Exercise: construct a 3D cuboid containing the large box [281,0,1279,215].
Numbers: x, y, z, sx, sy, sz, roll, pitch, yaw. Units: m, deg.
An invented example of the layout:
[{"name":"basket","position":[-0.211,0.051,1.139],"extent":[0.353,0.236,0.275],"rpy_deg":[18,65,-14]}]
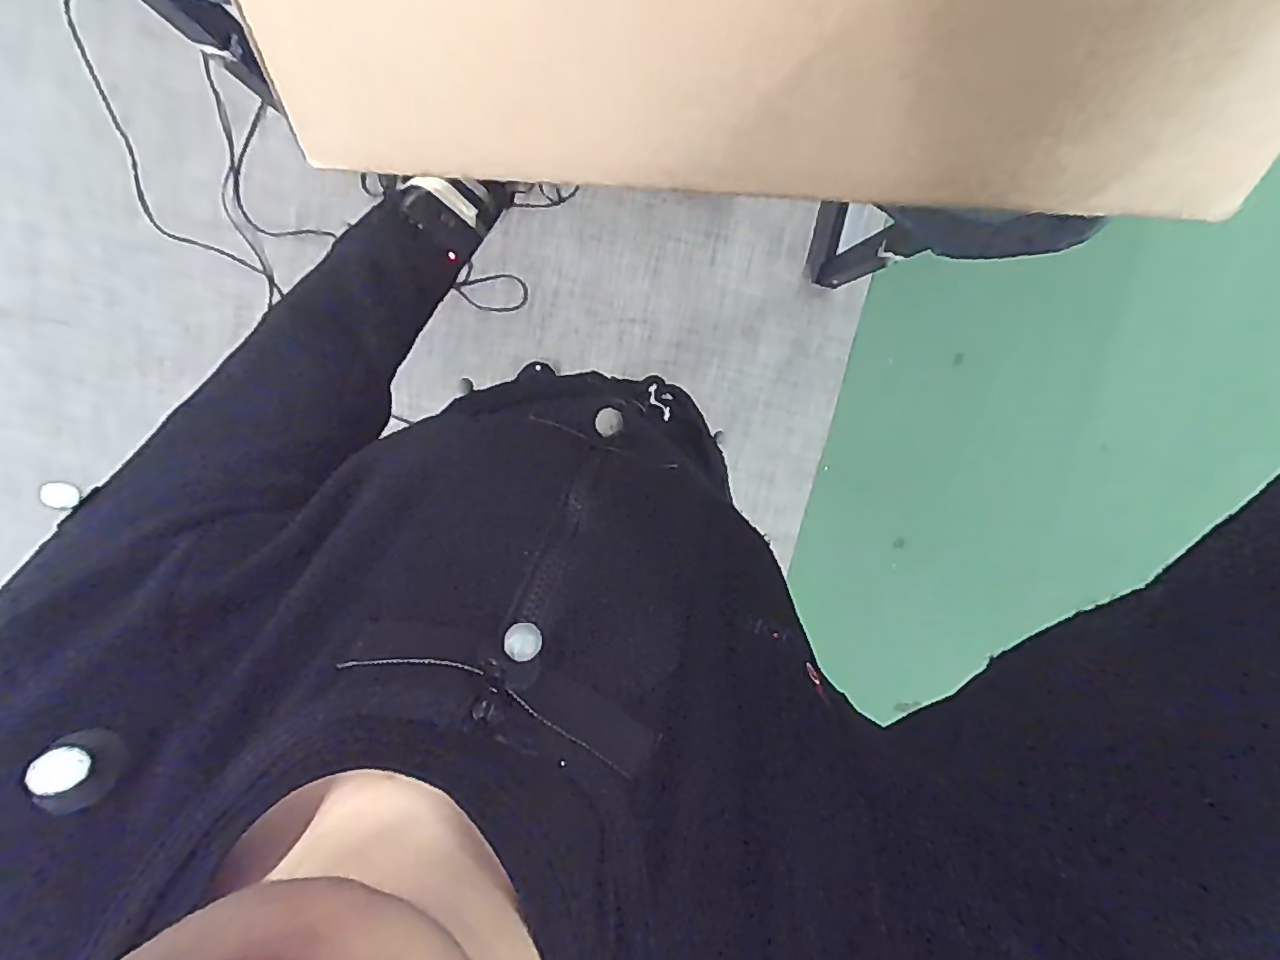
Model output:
[{"name":"large box","position":[0.062,-0.341,0.246],"extent":[0.408,0.320,0.320],"rpy_deg":[7,136,10]}]
